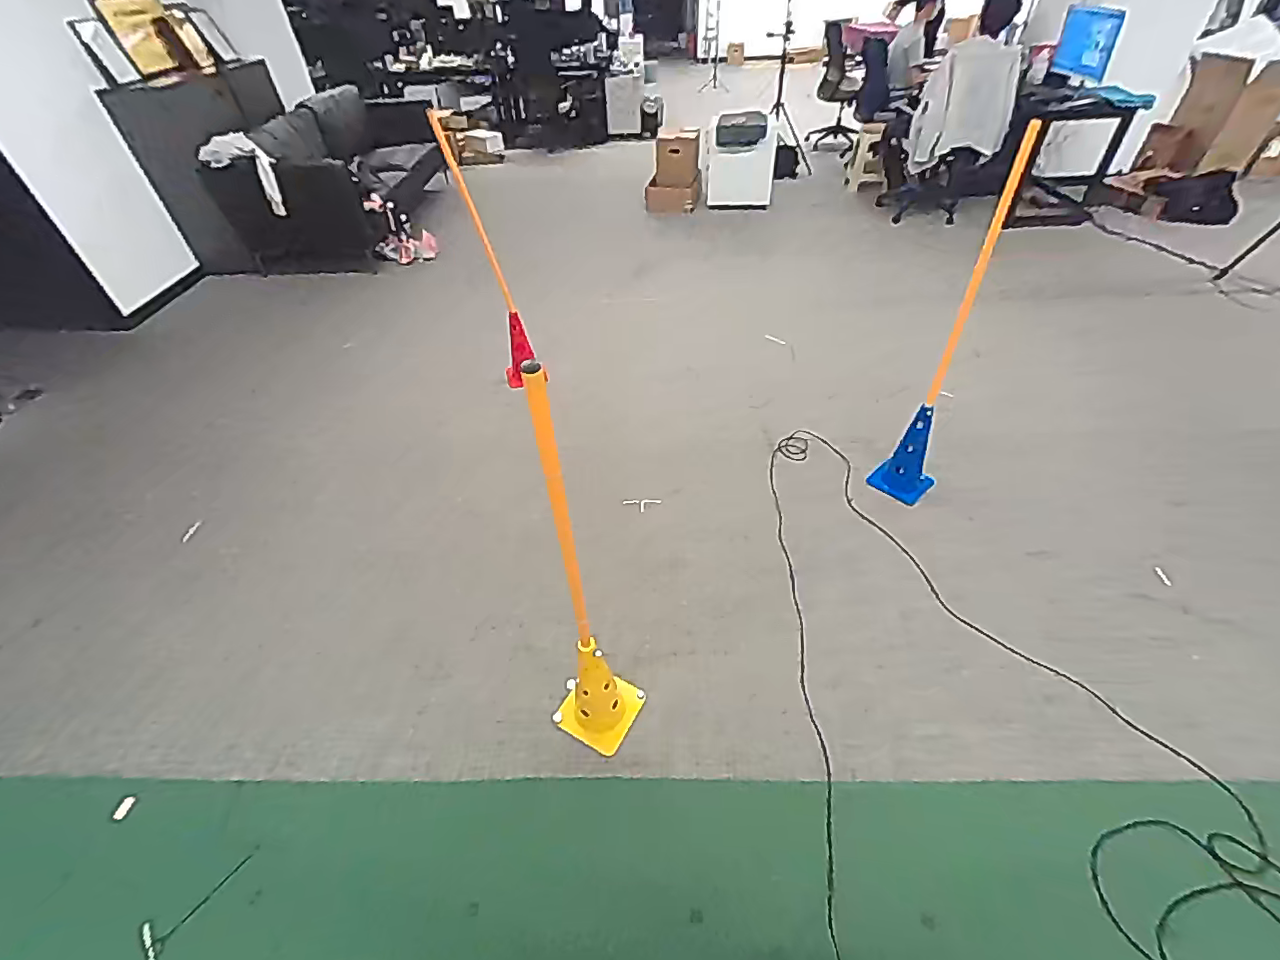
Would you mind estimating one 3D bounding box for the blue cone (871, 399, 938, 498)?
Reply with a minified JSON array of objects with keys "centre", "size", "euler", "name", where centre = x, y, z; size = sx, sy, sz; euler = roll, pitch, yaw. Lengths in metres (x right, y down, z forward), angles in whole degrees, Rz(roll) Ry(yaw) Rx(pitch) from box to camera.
[{"centre":[1.018,-0.137,2.011],"size":[0.193,0.380,0.192],"euler":[-34,50,-31],"name":"blue cone"}]
